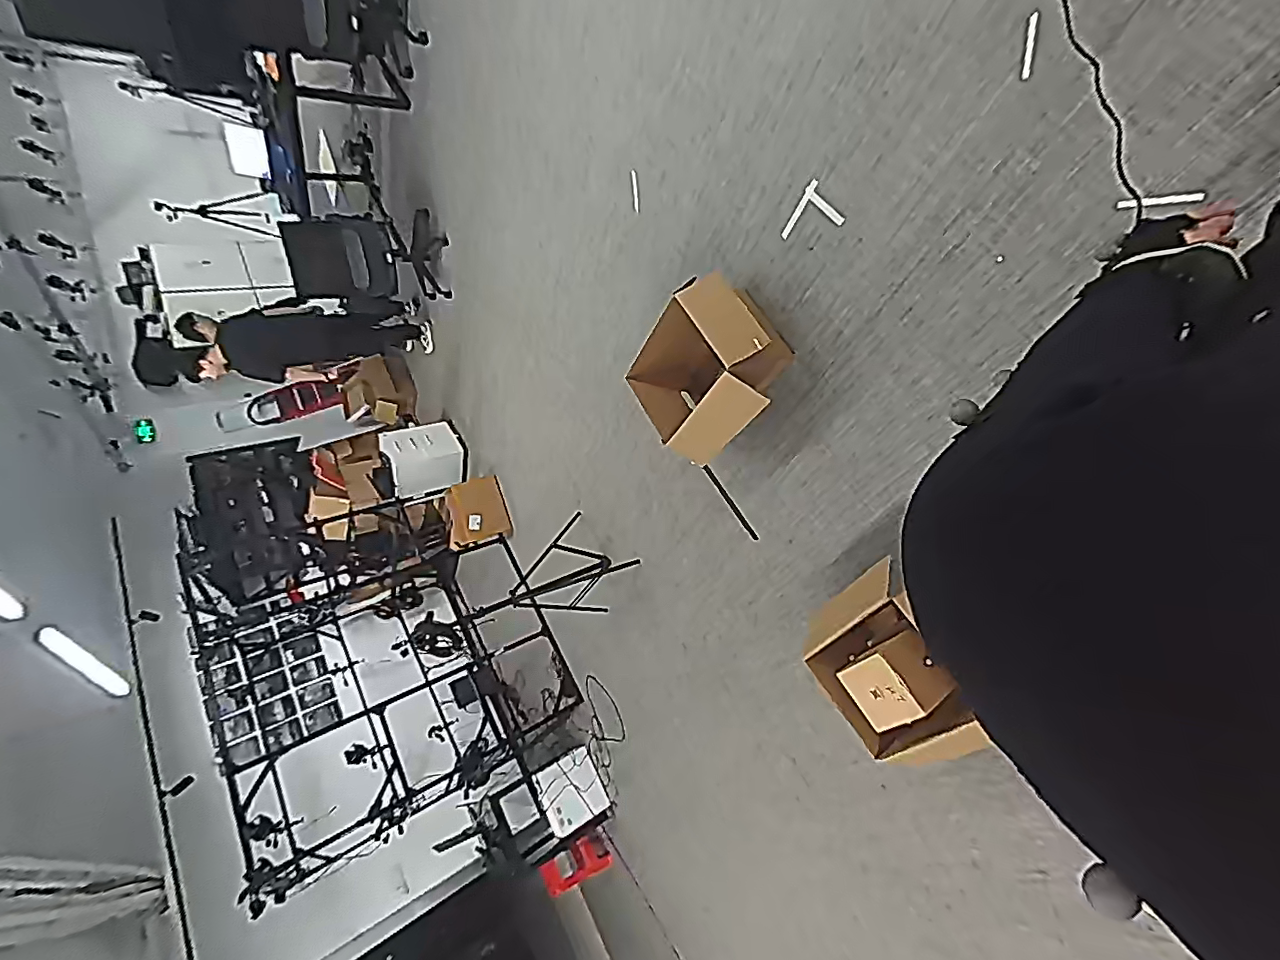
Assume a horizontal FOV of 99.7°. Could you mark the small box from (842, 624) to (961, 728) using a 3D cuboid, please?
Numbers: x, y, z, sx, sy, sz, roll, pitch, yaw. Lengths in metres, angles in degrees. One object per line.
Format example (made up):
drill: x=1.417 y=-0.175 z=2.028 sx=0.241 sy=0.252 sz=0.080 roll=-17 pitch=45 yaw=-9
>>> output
small box: x=0.663 y=0.494 z=1.372 sx=0.168 sy=0.176 sz=0.179 roll=57 pitch=143 yaw=22
